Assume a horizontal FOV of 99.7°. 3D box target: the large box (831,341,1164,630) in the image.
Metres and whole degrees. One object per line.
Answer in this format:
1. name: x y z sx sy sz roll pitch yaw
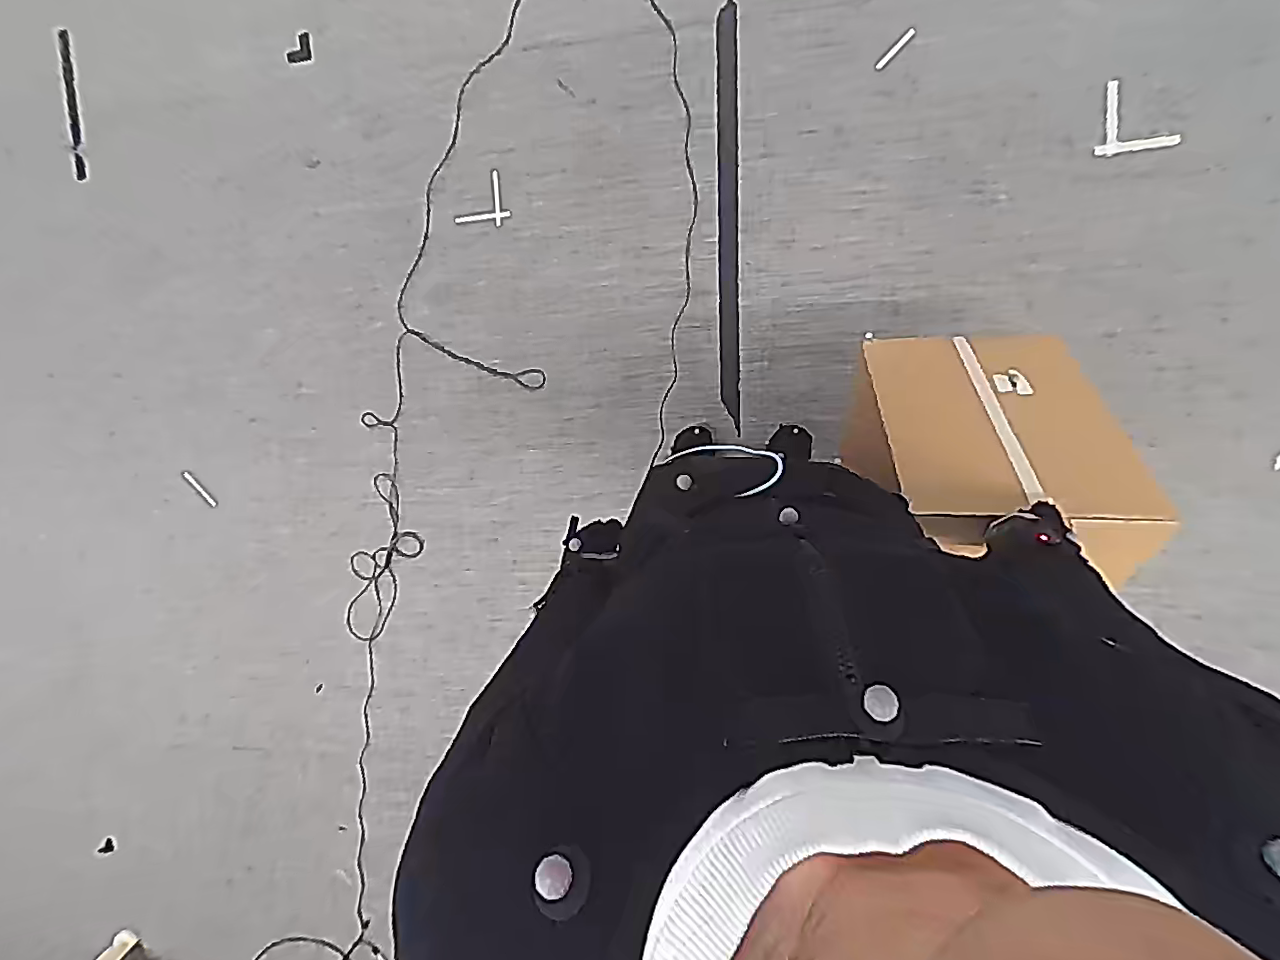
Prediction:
1. large box: 0.537 0.006 0.932 0.320 0.408 0.320 1 136 7
